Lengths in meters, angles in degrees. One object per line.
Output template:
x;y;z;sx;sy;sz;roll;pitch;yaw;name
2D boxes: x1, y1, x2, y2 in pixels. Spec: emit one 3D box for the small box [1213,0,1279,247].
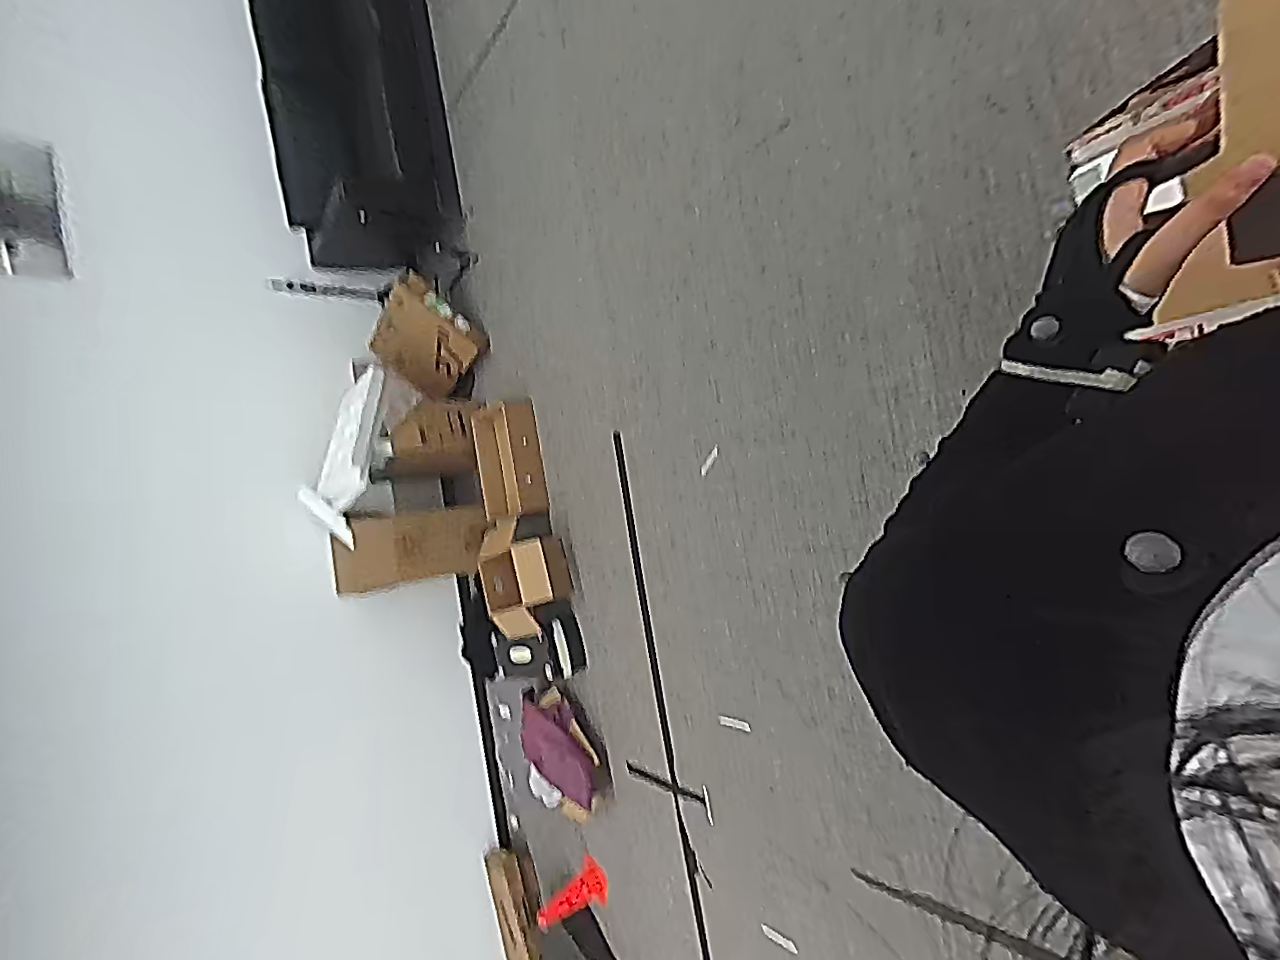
0.452;-0.253;0.306;0.168;0.176;0.179;-2;88;50;small box
